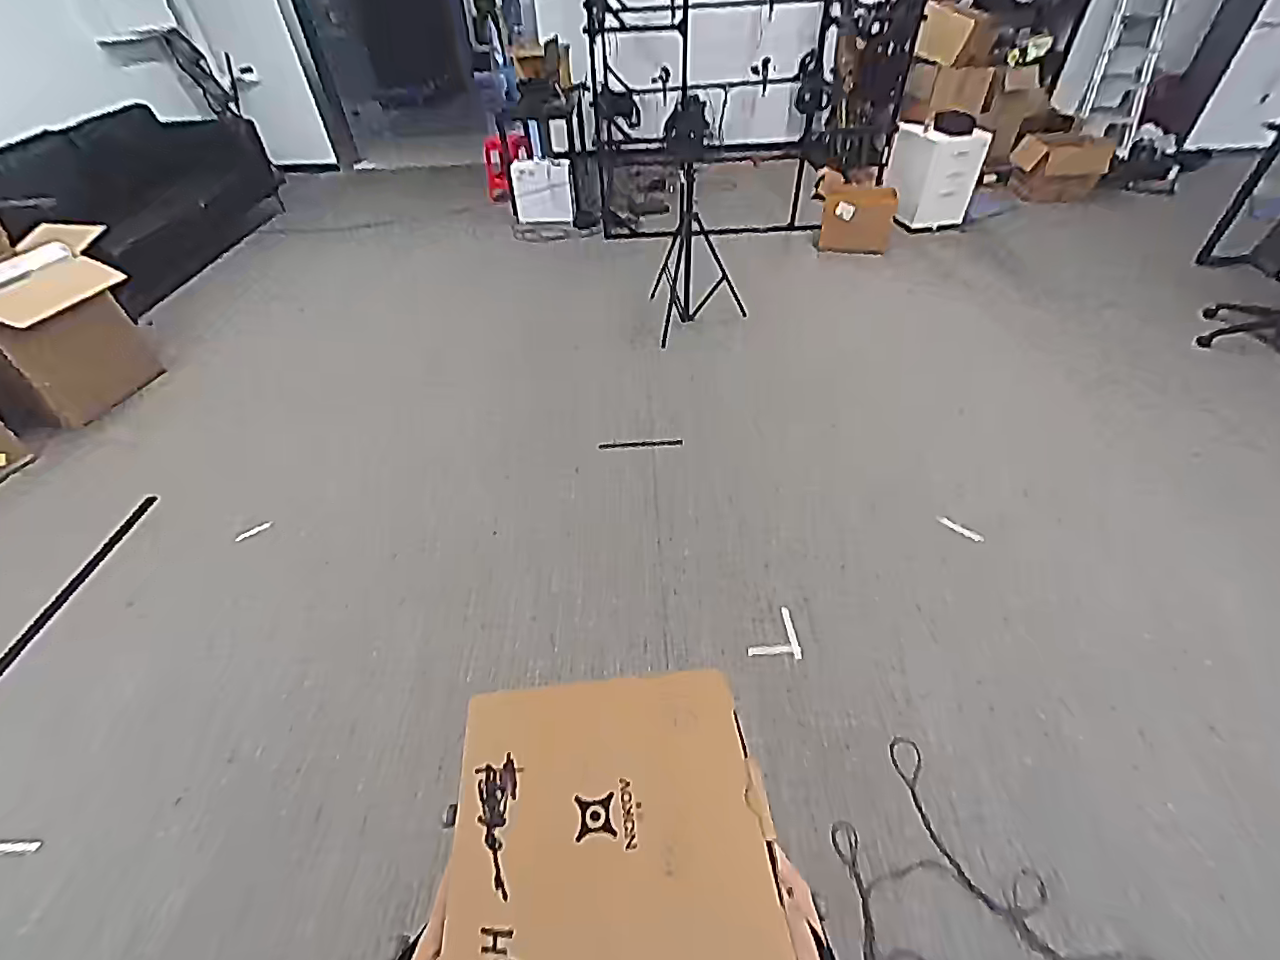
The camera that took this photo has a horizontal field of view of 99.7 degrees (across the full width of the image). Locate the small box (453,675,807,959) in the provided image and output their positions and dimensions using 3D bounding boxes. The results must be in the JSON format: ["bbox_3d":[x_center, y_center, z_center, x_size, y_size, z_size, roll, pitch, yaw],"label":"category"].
[{"bbox_3d":[-0.016,0.254,0.362,0.179,0.176,0.168,-3,42,-7],"label":"small box"}]
